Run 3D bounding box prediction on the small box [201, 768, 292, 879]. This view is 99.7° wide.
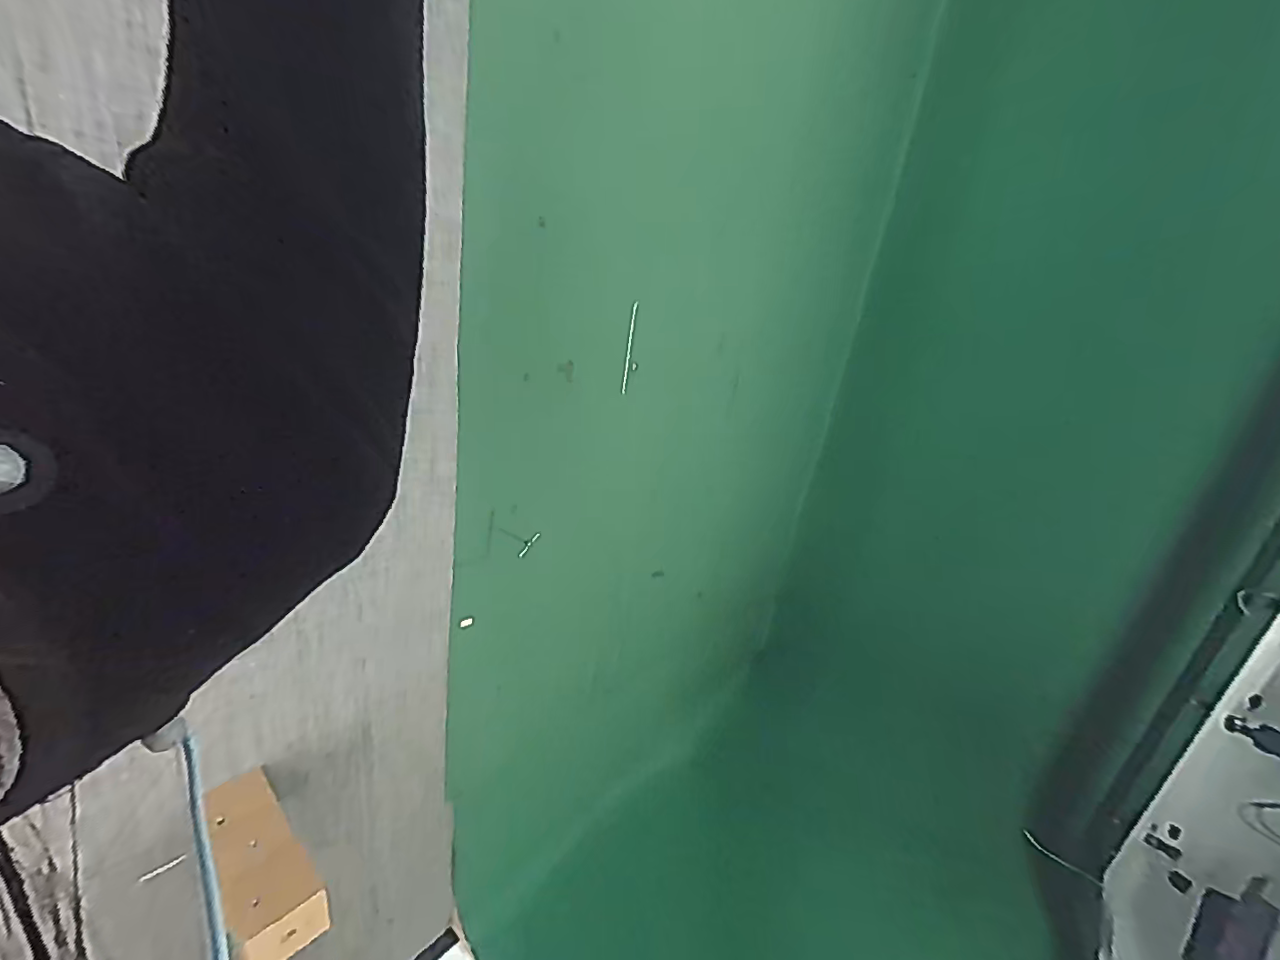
[{"bbox_3d":[-1.150,0.993,1.578,0.179,0.176,0.168,-16,122,-47],"label":"small box"}]

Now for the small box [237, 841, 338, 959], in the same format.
[{"bbox_3d":[-0.904,1.089,1.383,0.179,0.176,0.168,-17,123,-47],"label":"small box"}]
